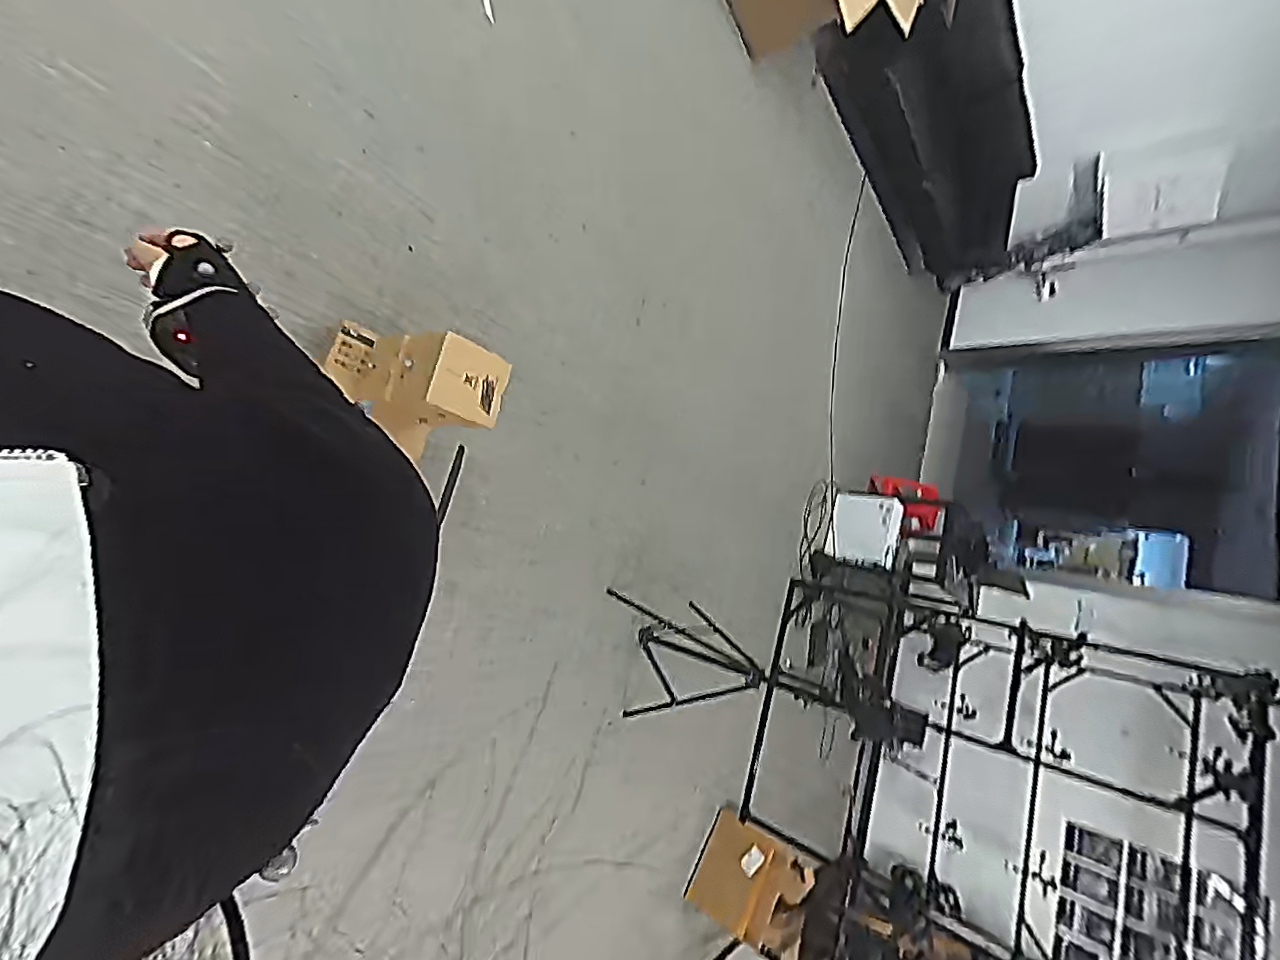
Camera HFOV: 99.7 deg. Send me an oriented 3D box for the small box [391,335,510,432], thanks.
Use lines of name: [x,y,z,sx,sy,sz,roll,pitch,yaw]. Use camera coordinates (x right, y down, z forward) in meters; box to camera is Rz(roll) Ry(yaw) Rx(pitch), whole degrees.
small box: [-0.441,-0.220,1.259,0.179,0.176,0.168,24,77,-47]

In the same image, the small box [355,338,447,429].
small box: [-0.574,-0.237,1.355,0.179,0.176,0.168,26,75,-47]
